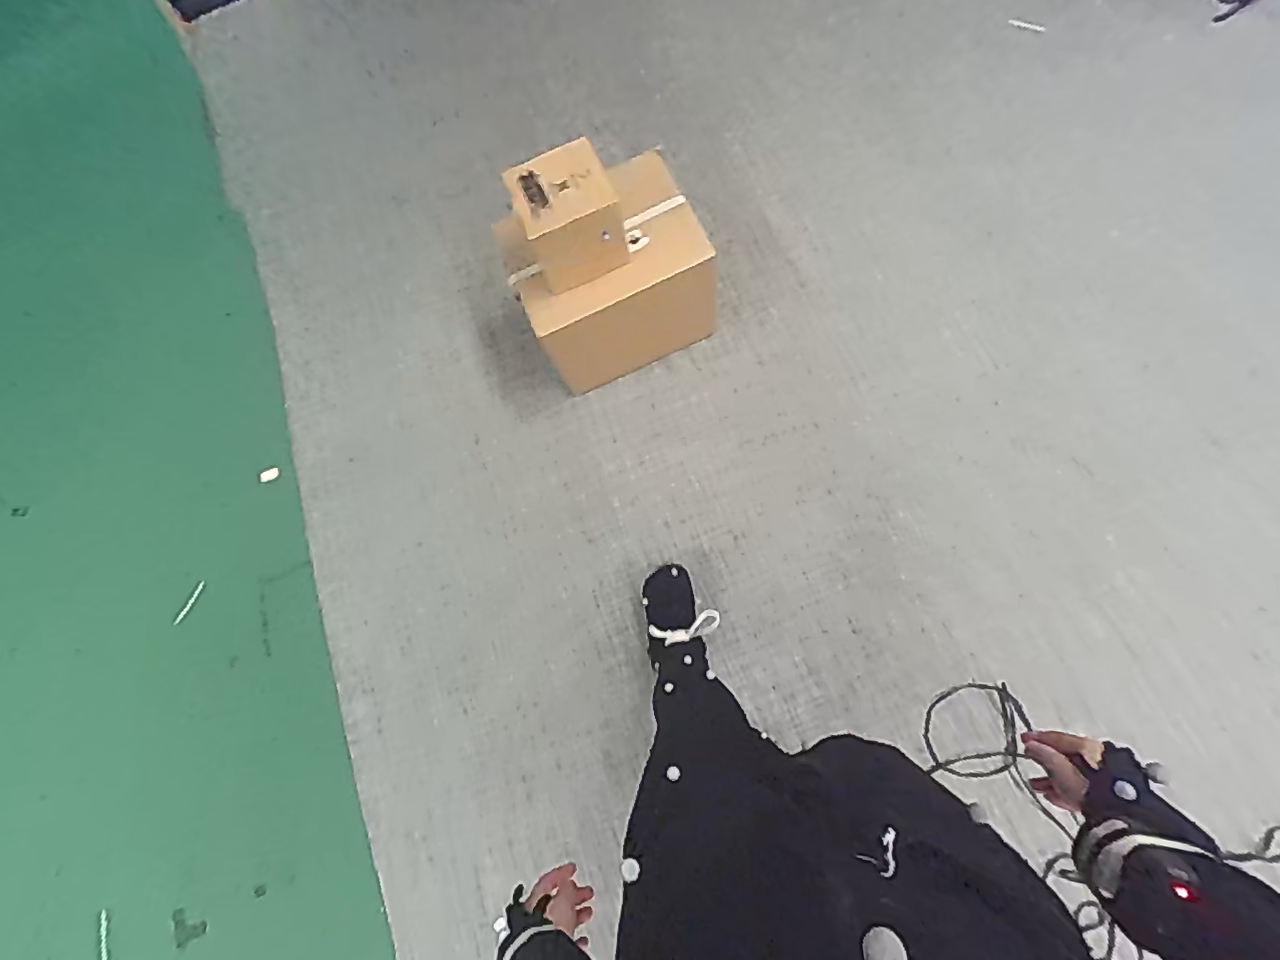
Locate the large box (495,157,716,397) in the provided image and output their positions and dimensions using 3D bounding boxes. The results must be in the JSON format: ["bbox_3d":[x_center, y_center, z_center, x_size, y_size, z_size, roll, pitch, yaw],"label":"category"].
[{"bbox_3d":[-0.065,-0.460,1.291,0.408,0.320,0.320,-25,74,0],"label":"large box"}]
